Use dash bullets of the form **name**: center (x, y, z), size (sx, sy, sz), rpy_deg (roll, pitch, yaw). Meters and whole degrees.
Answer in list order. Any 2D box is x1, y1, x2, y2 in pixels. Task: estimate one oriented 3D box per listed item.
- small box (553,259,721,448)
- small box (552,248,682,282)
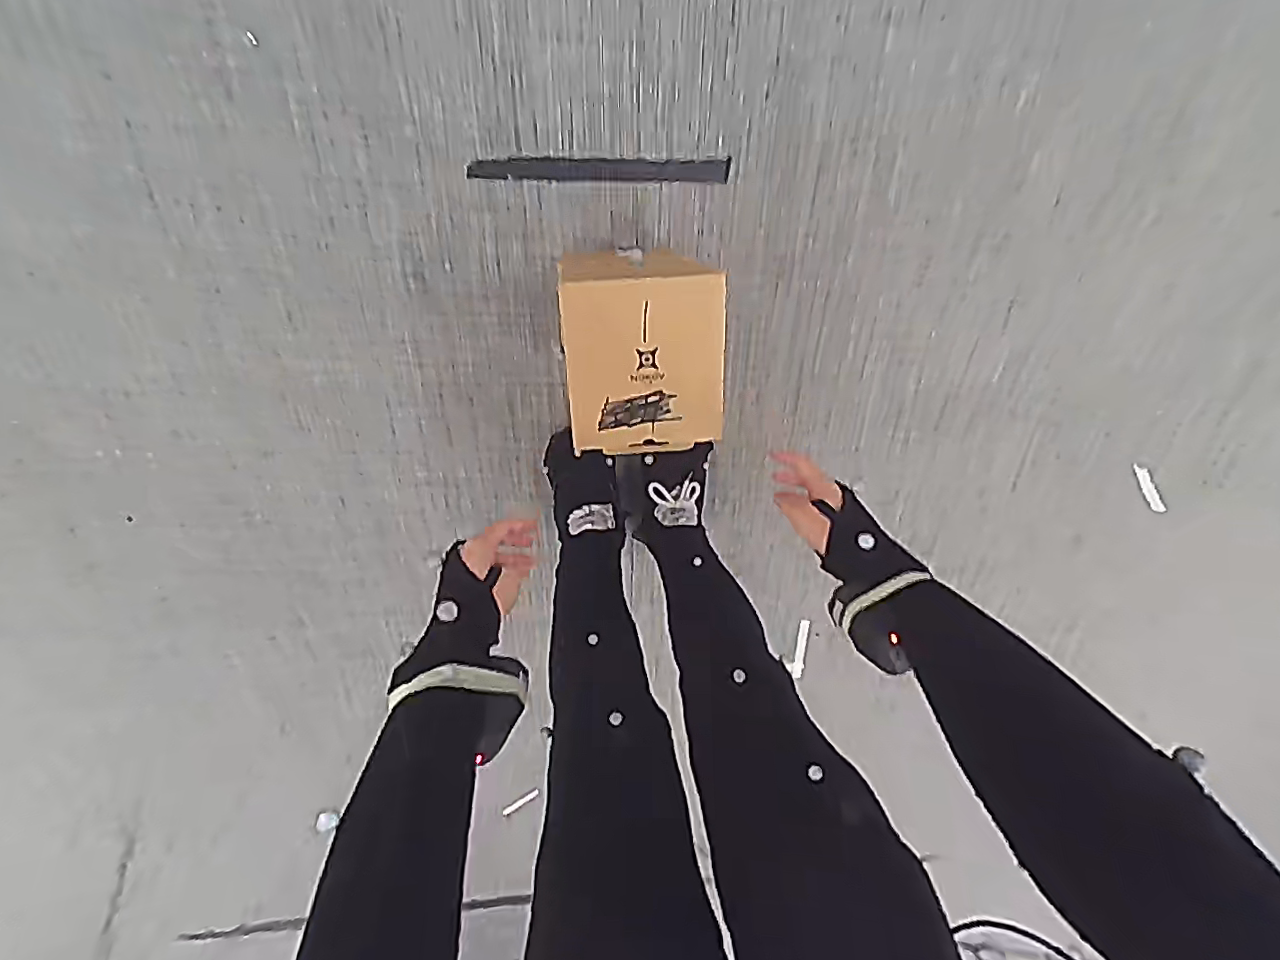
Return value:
- **small box**: center (-0.008, -0.154, 0.630), size (0.168, 0.176, 0.179), rpy_deg (-5, 117, -5)
- **small box**: center (-0.032, -0.228, 0.775), size (0.168, 0.176, 0.179), rpy_deg (-6, 117, -5)
